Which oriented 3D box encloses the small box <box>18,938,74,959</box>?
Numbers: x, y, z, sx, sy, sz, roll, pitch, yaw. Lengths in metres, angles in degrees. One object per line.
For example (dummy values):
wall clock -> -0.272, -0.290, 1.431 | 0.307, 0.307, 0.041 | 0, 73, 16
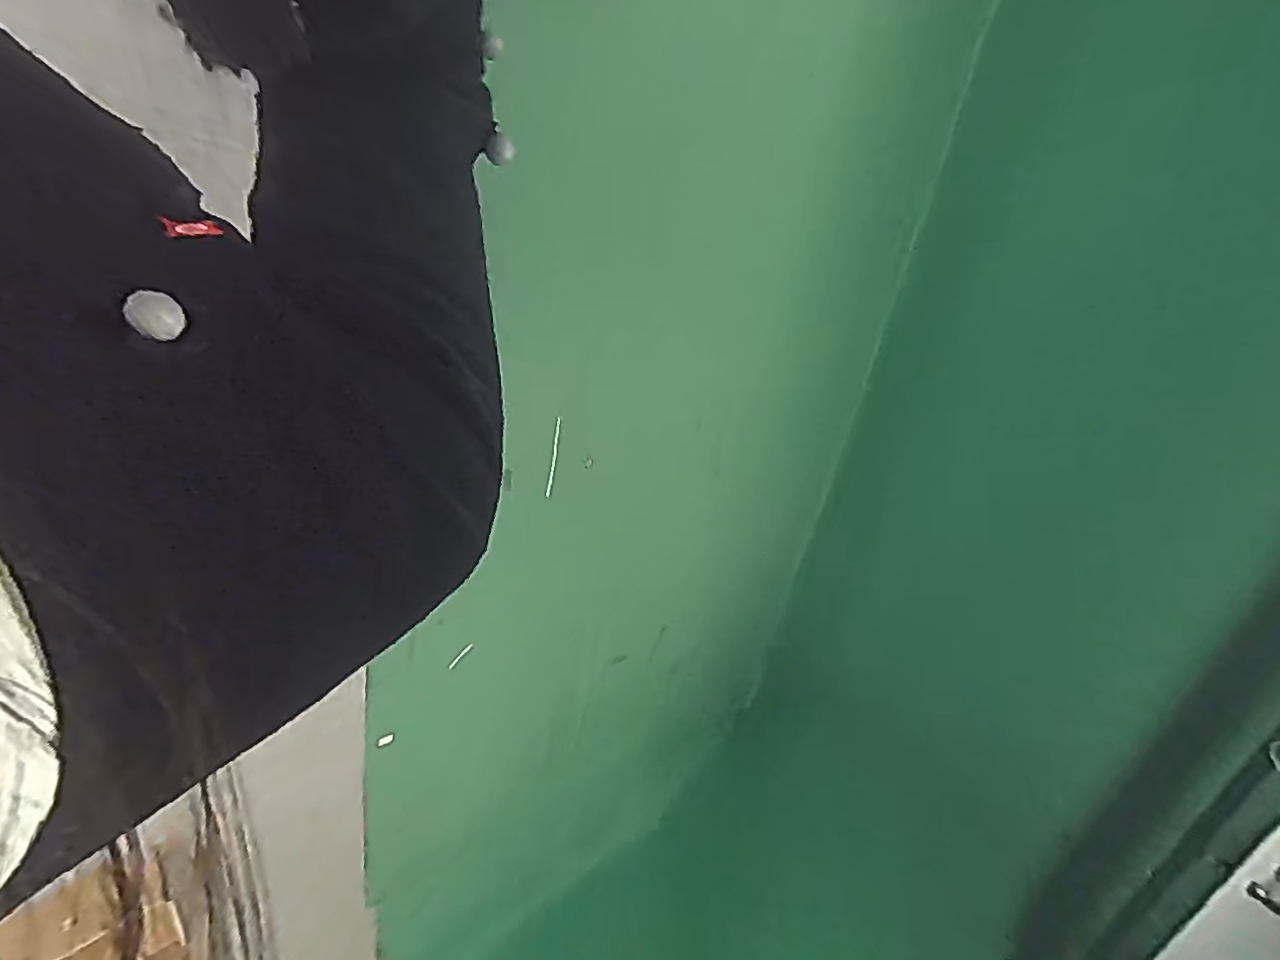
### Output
small box -> -1.488, 1.278, 1.299 | 0.179, 0.176, 0.168 | -17, 126, -45
